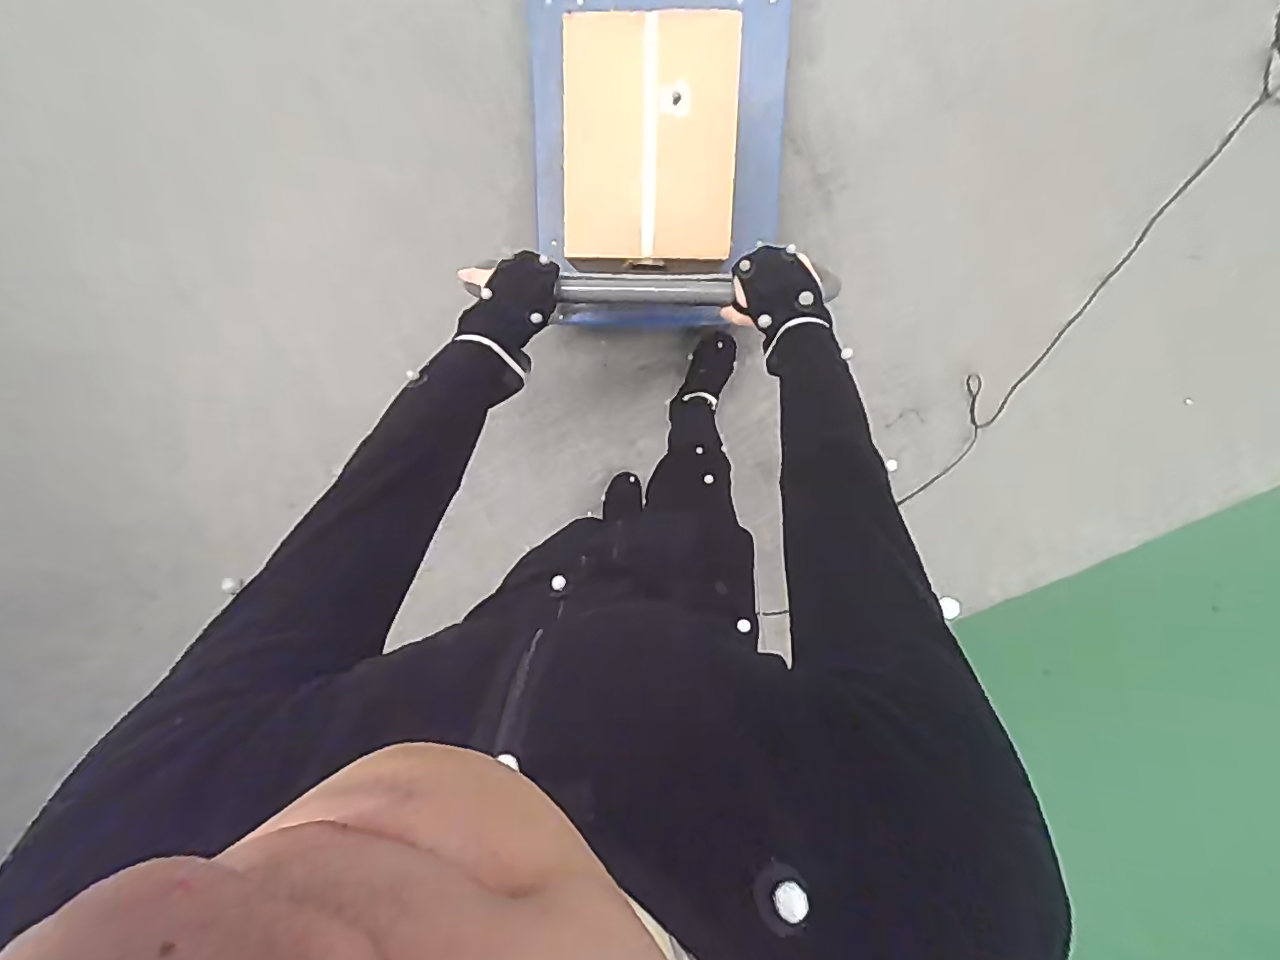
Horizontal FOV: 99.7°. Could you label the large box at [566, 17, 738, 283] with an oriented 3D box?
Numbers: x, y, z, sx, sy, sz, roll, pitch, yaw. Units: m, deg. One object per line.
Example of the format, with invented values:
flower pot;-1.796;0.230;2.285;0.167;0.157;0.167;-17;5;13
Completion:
large box;0.027;-0.649;1.140;0.320;0.320;0.408;2;101;2
